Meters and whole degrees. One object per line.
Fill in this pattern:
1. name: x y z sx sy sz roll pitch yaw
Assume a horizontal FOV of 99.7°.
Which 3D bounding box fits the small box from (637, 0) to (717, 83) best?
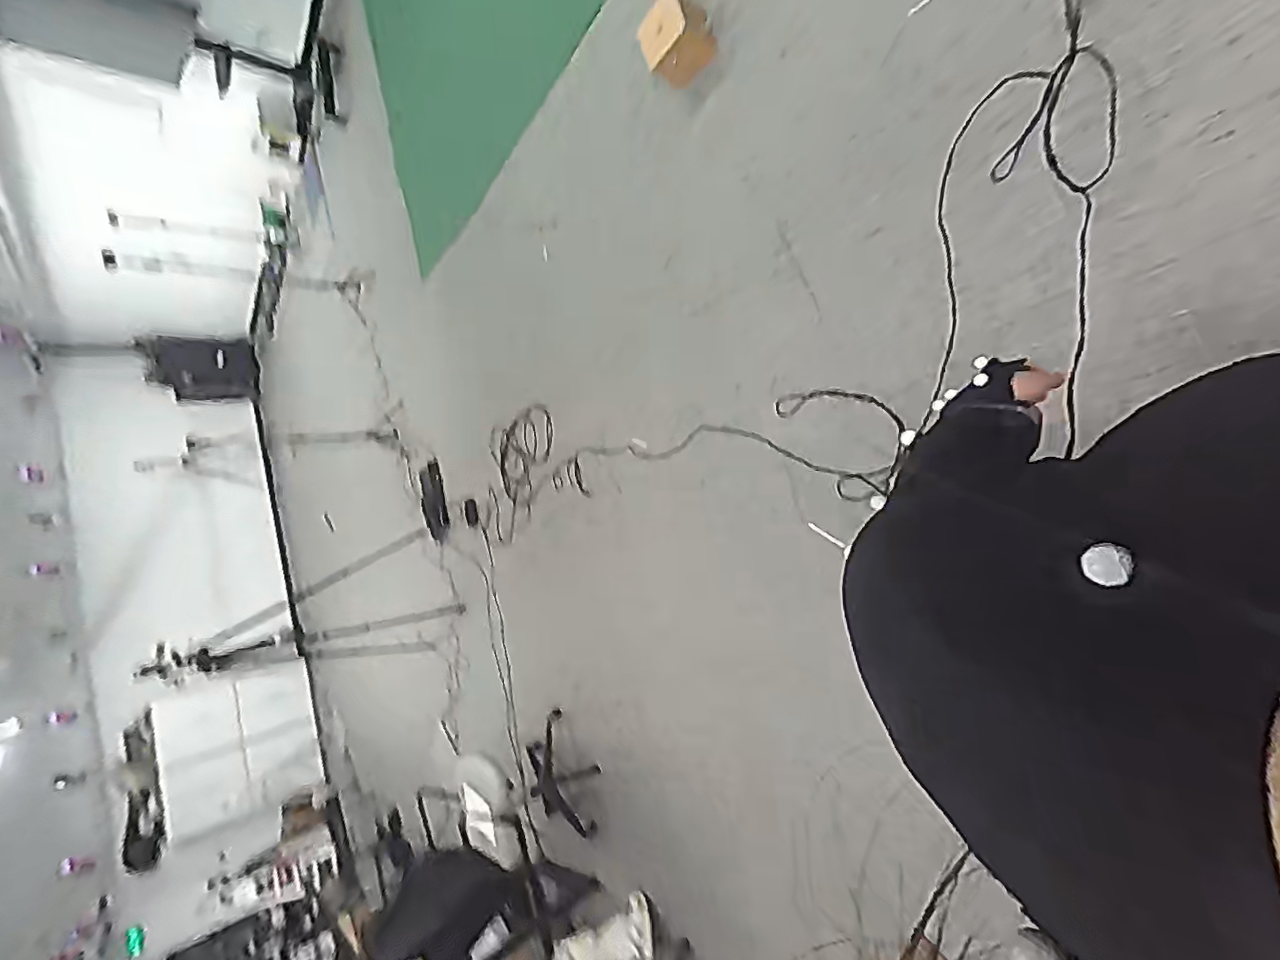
1. small box: 0.122 -1.459 1.772 0.179 0.176 0.168 -24 80 45
